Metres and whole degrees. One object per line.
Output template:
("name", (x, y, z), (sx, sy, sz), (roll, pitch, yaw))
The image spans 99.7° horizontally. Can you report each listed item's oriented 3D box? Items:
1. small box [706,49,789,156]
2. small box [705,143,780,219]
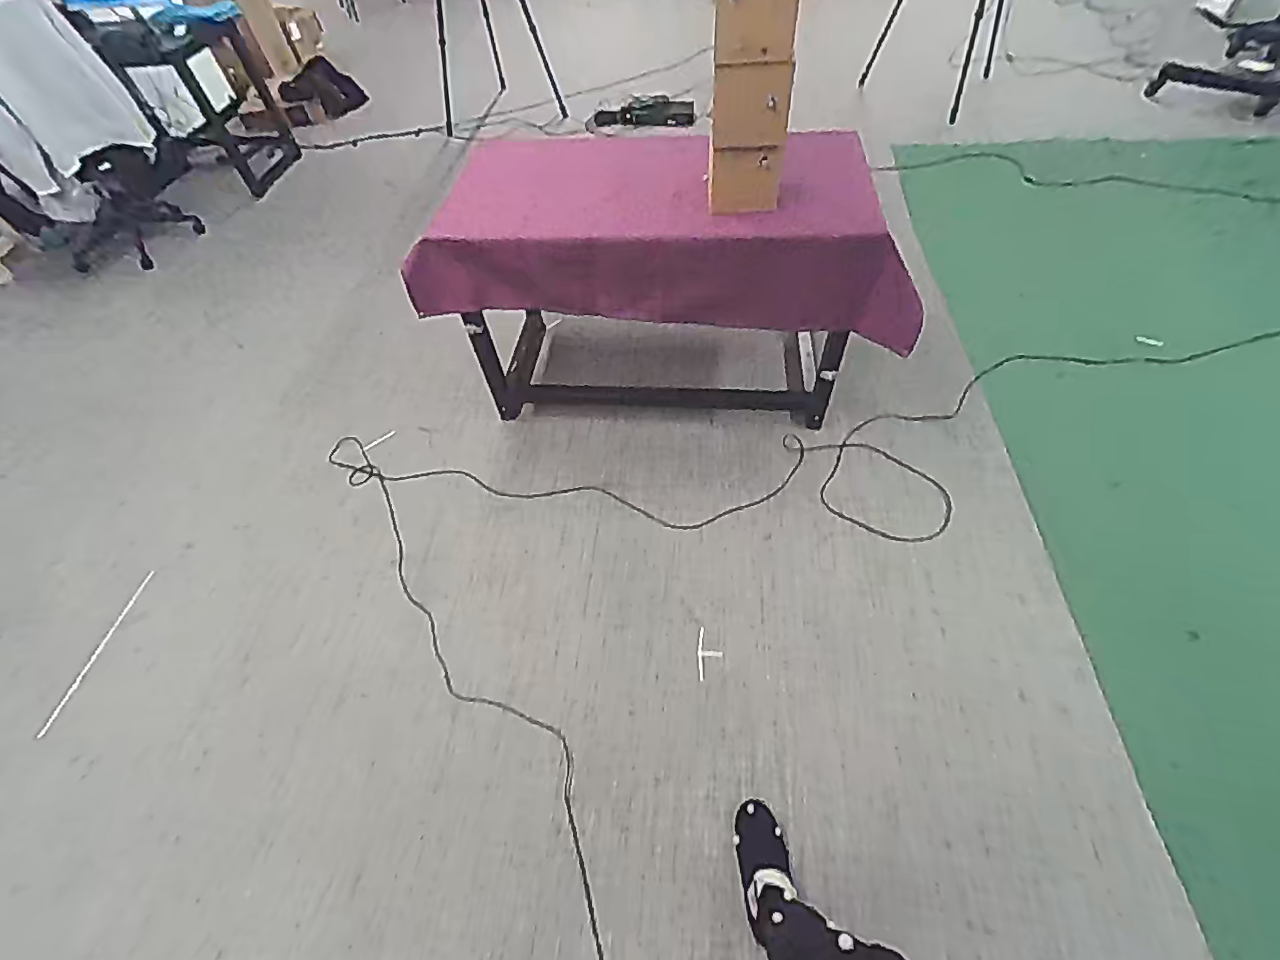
("small box", (0.250, -0.897, 1.290), (0.179, 0.176, 0.168), (1, 52, 6))
("small box", (0.264, -0.810, 1.429), (0.179, 0.176, 0.168), (0, 52, 5))
